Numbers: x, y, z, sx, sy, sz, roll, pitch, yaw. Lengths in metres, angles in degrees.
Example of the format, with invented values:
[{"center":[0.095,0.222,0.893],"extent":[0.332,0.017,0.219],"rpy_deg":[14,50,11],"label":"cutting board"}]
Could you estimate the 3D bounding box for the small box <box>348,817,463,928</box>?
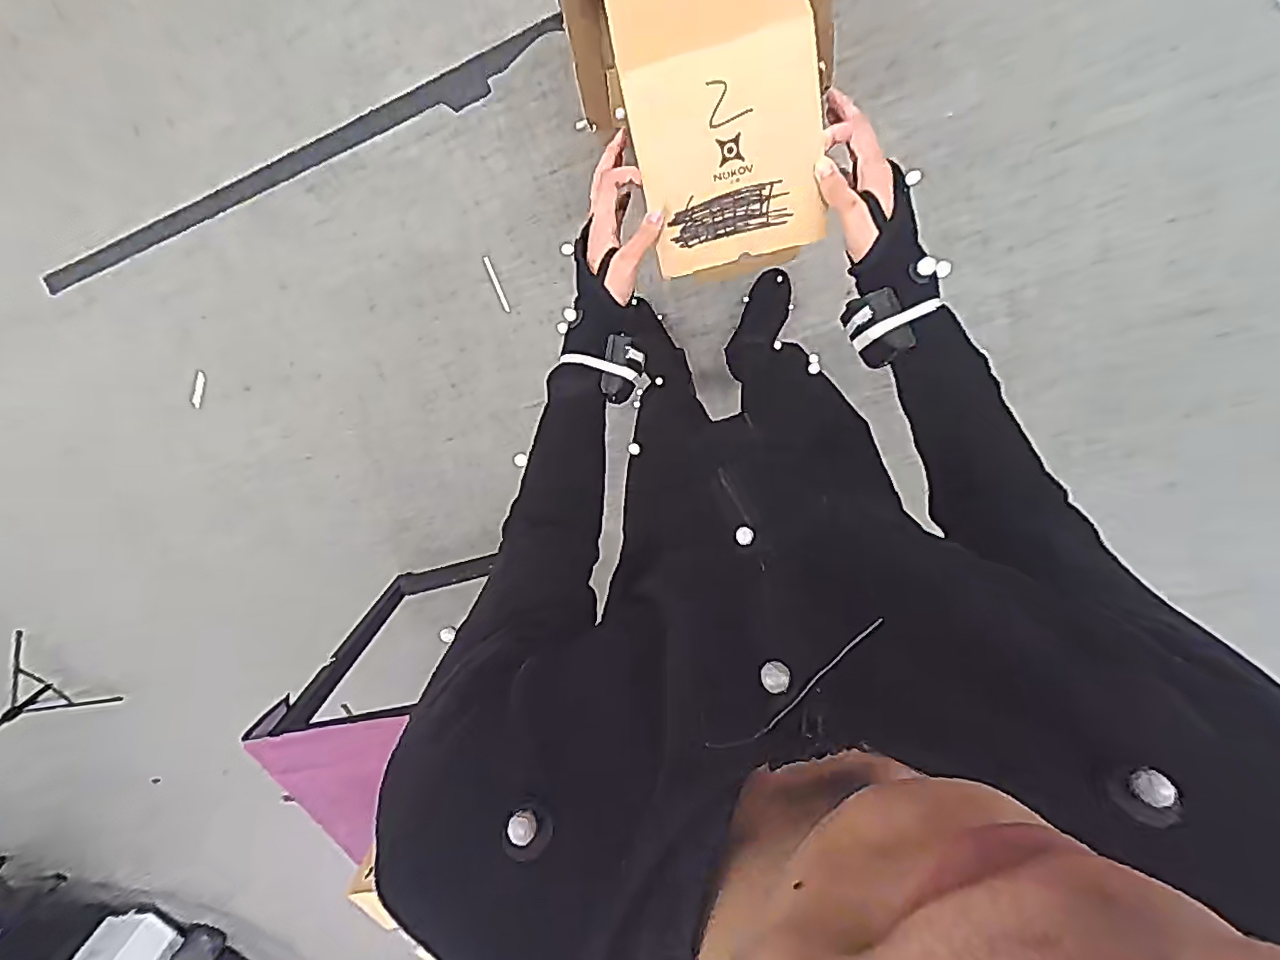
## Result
[{"center":[-0.591,1.004,1.388],"extent":[0.179,0.176,0.168],"rpy_deg":[-20,114,16],"label":"small box"}]
